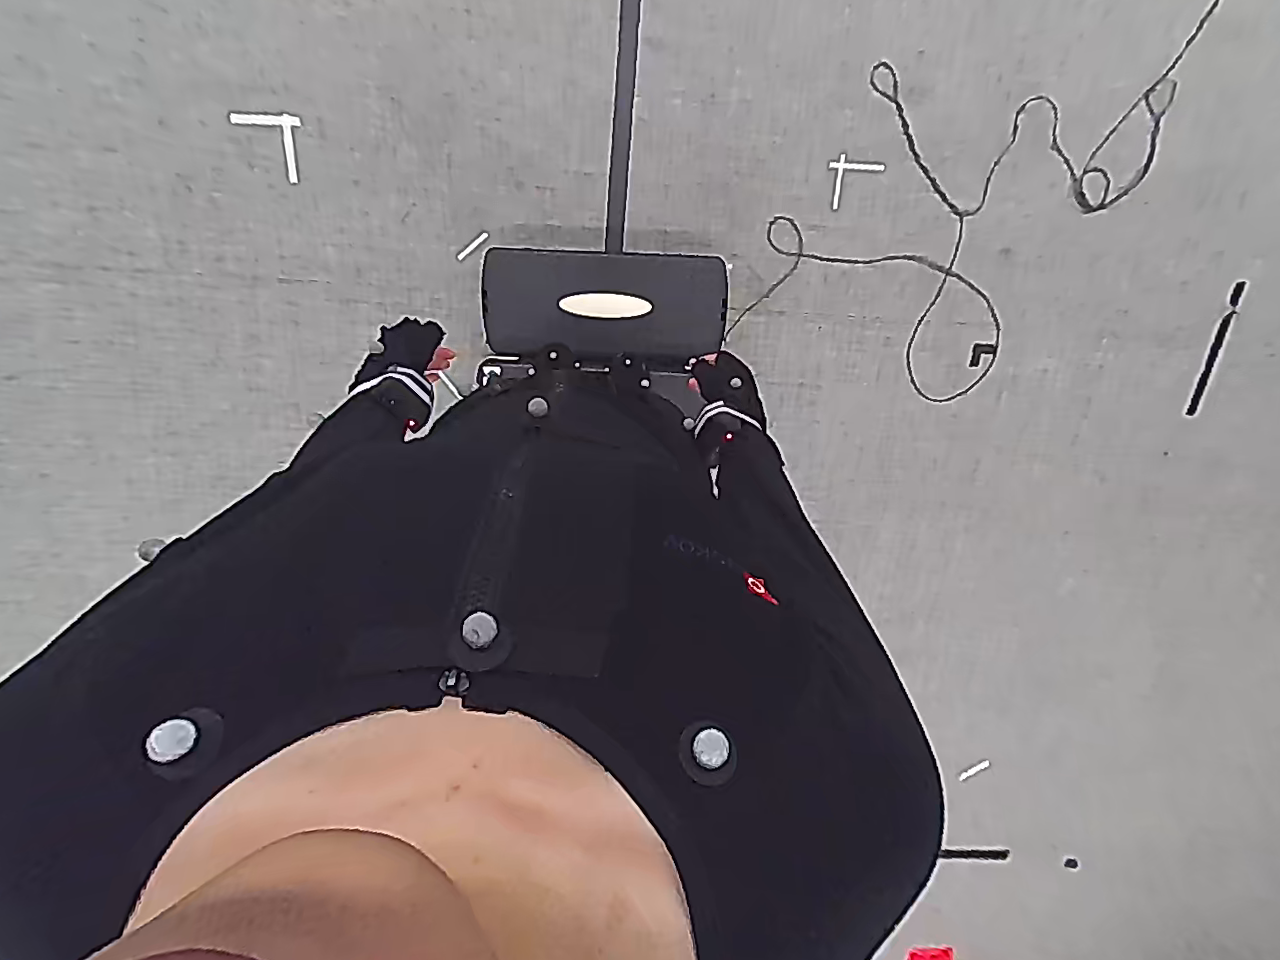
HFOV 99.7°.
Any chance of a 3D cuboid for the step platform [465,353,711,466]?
[{"bbox_3d":[-0.140,-0.200,1.537,0.684,0.204,0.286,2,106,-2],"label":"step platform"}]
